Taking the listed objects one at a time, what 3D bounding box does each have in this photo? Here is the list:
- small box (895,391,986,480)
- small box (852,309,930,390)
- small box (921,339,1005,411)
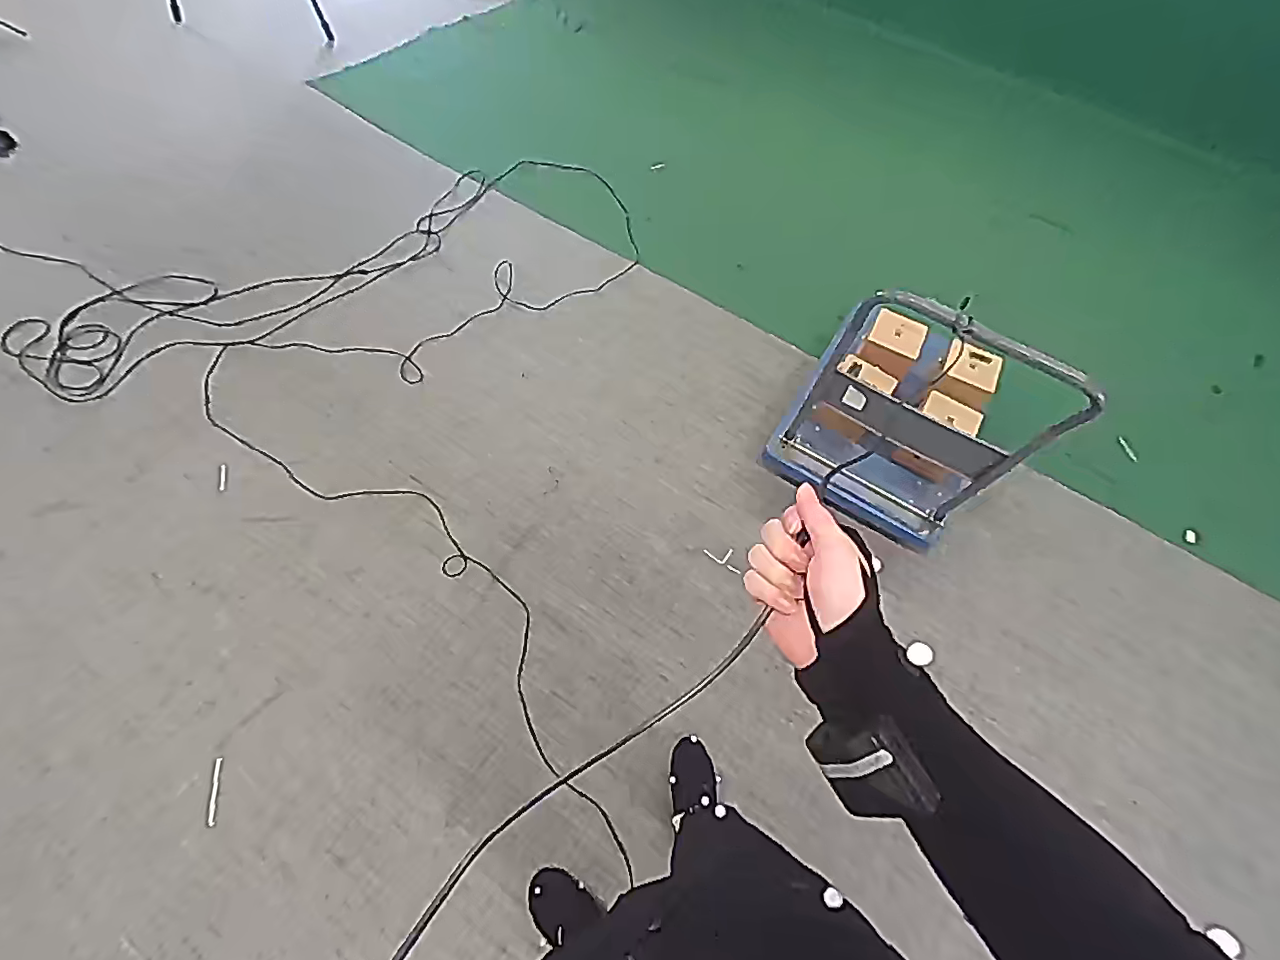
[{"bbox_3d":[0.921,-0.135,1.670,0.168,0.176,0.179,32,63,13],"label":"small box"},{"bbox_3d":[0.846,-0.439,1.839,0.168,0.176,0.179,28,61,10],"label":"small box"},{"bbox_3d":[1.066,-0.326,1.794,0.168,0.176,0.179,27,62,11],"label":"small box"}]
